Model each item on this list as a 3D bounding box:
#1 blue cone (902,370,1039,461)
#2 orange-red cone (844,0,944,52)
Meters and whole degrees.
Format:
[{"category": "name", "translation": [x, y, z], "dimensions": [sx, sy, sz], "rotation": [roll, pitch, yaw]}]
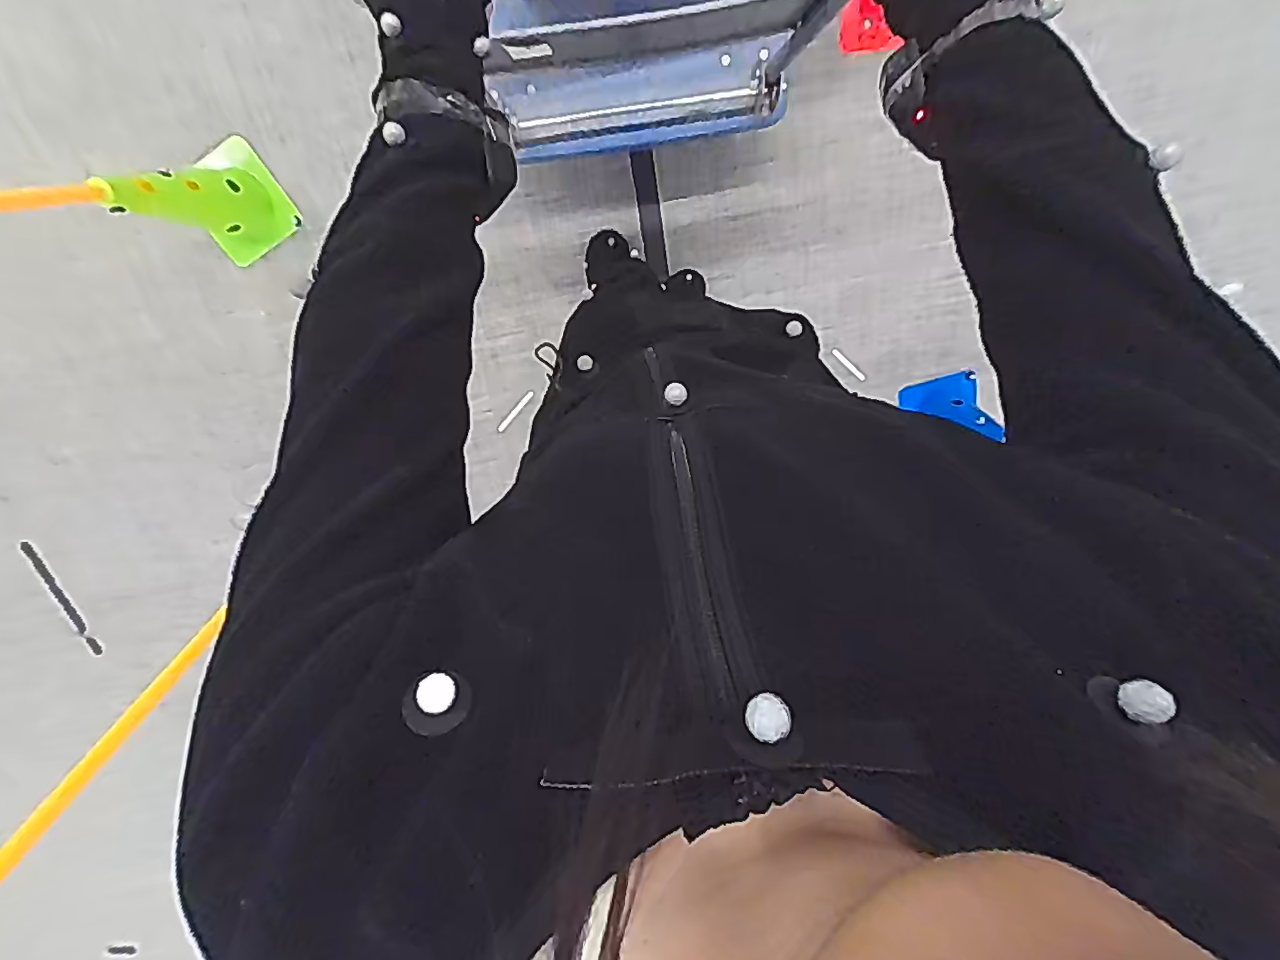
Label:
[{"category": "blue cone", "translation": [0.801, -0.119, 1.284], "dimensions": [0.193, 0.380, 0.192], "rotation": [-14, 112, 4]}, {"category": "orange-red cone", "translation": [0.518, -0.903, 0.916], "dimensions": [0.199, 0.360, 0.198], "rotation": [-4, 114, -1]}]
